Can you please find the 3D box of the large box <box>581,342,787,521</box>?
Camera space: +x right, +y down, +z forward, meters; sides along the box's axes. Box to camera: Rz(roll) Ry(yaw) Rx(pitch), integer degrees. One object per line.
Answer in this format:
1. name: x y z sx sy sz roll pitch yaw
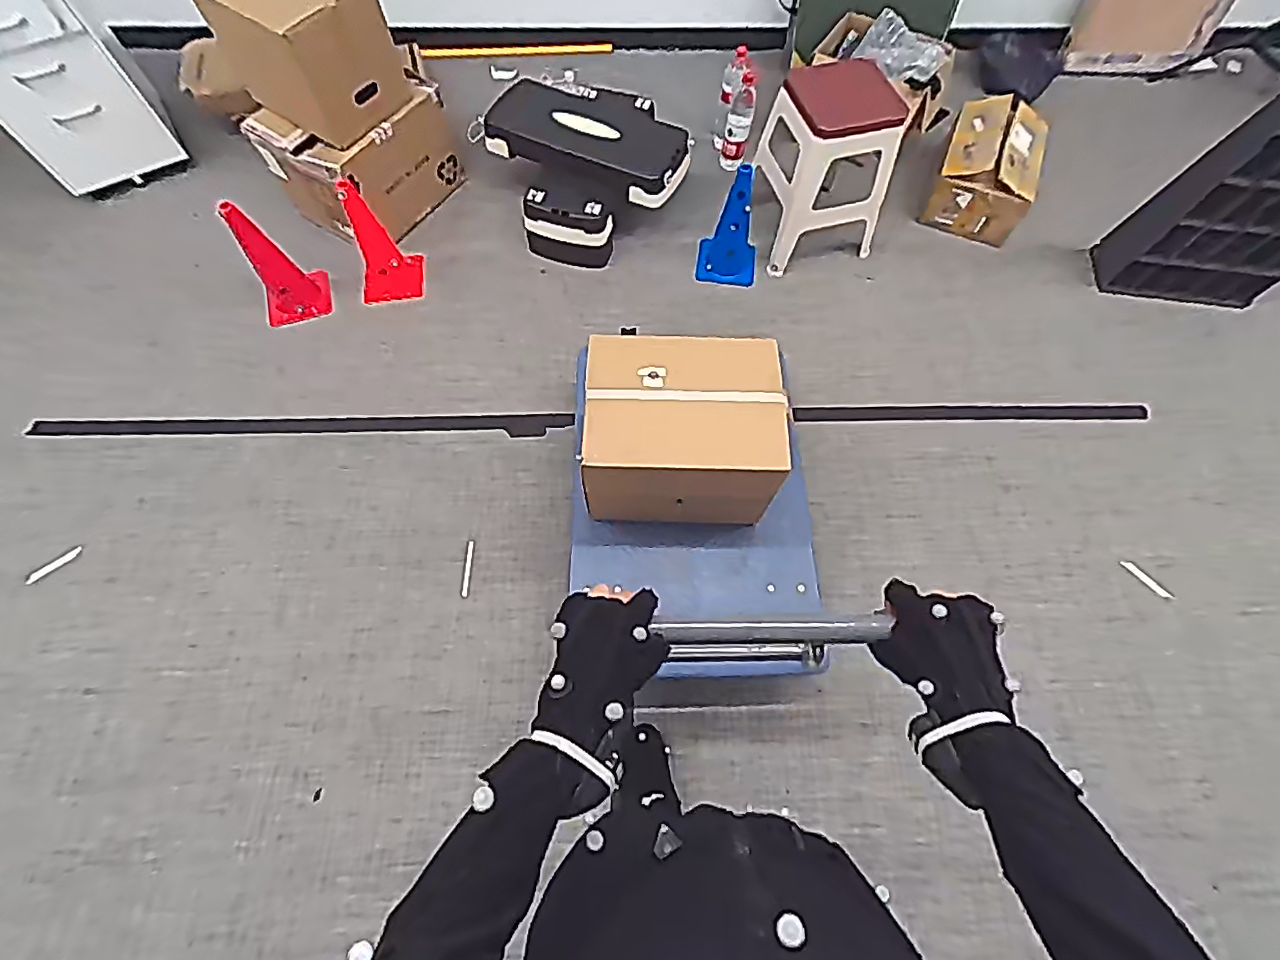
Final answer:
1. large box: 0.087 -0.096 1.235 0.408 0.320 0.320 1 66 0
